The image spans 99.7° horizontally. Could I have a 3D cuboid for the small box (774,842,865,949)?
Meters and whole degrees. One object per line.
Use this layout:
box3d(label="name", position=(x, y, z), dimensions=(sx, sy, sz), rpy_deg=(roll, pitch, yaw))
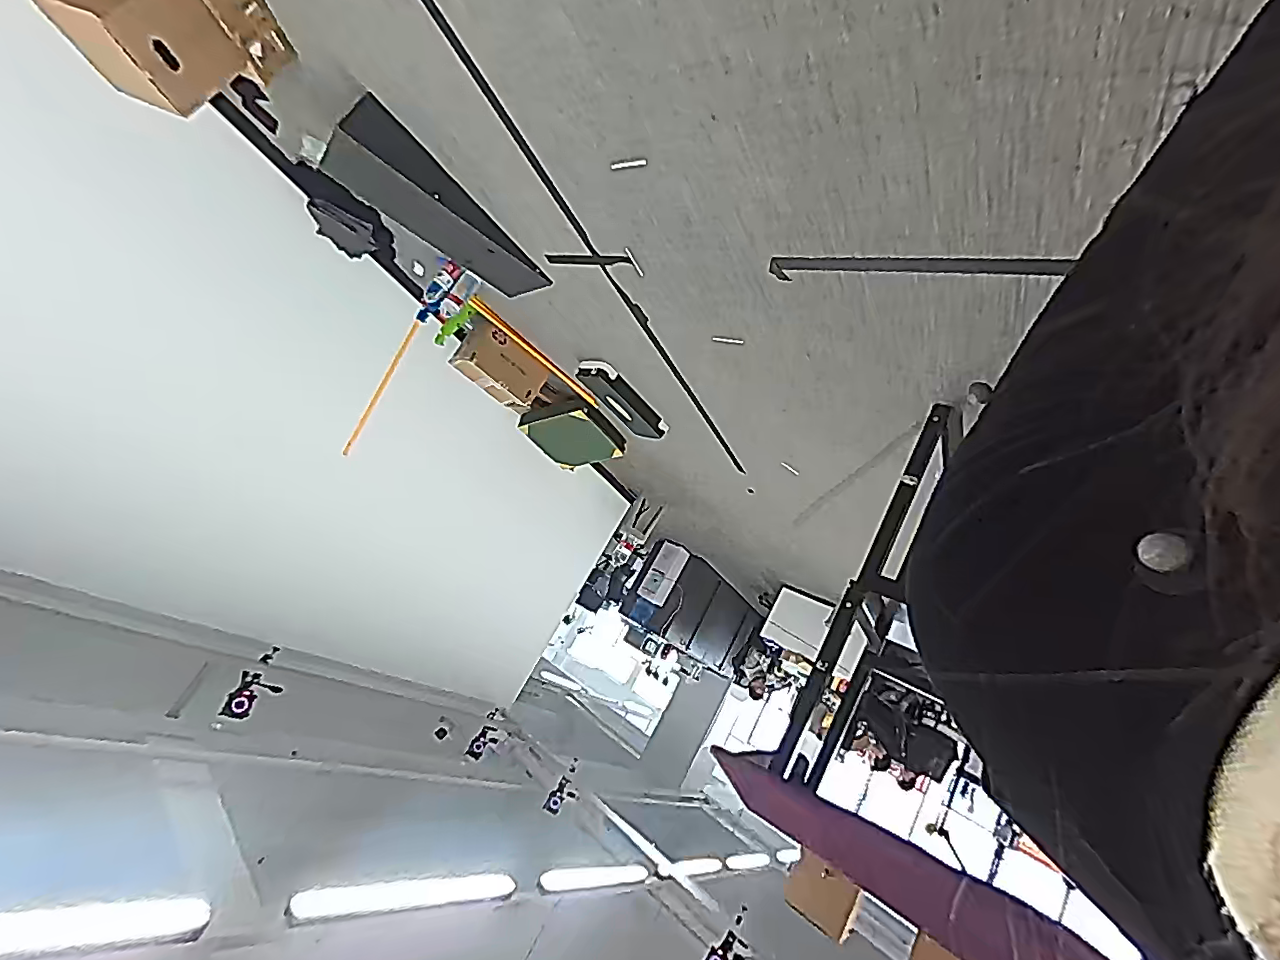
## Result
box3d(label="small box", position=(0.514, 1.167, 1.537), dimensions=(0.179, 0.176, 0.168), rpy_deg=(20, 164, 38))

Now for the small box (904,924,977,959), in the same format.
box3d(label="small box", position=(0.762, 1.259, 1.351), dimensions=(0.179, 0.176, 0.168), rpy_deg=(17, 161, 43))
